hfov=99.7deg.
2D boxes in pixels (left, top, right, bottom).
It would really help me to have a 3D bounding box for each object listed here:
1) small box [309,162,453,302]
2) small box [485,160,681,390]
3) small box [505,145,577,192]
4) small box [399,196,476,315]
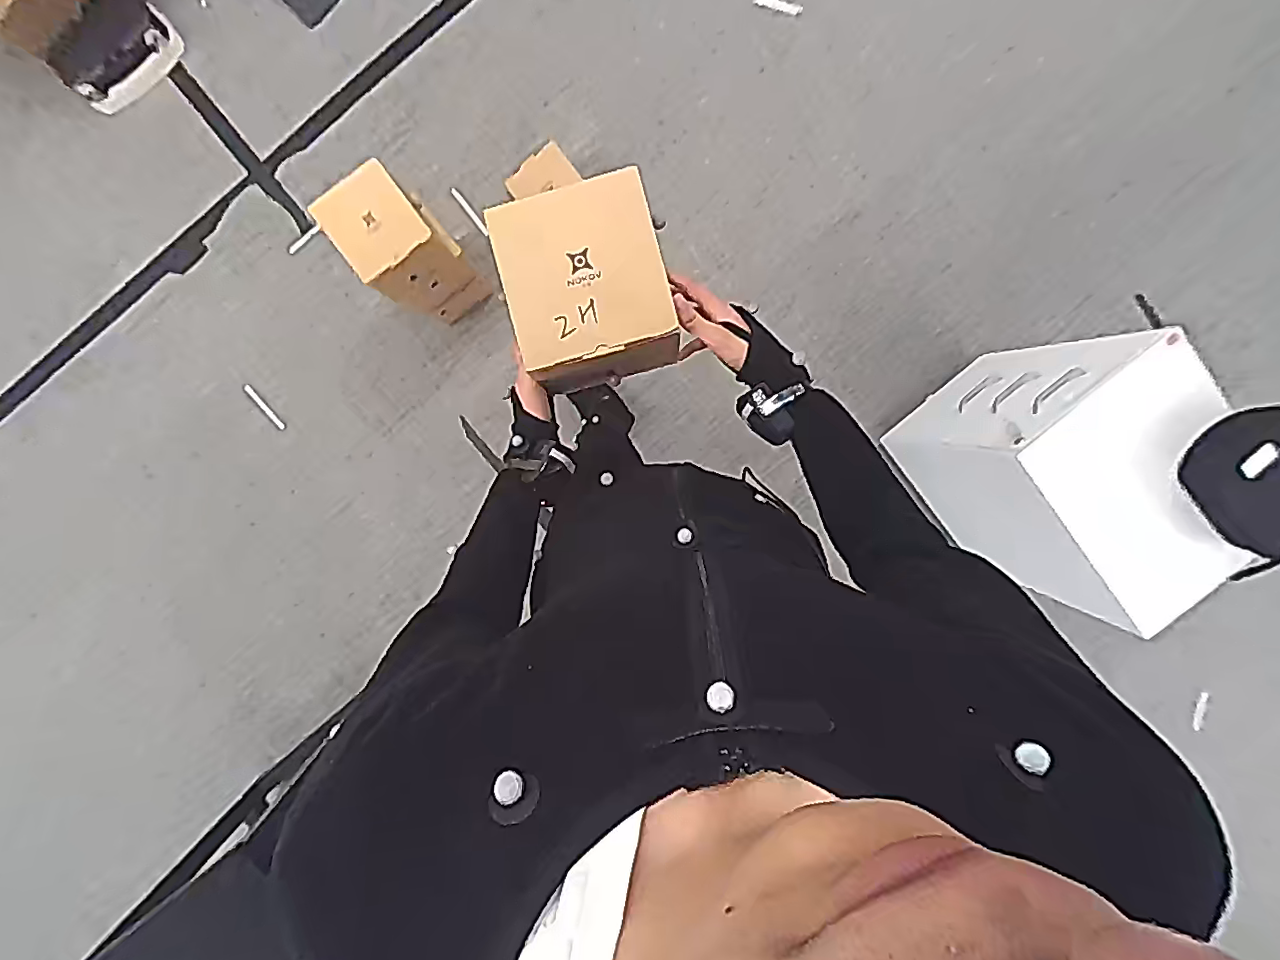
[{"bbox_3d":[-0.517,-0.493,1.107,0.168,0.176,0.179,-37,98,1],"label":"small box"},{"bbox_3d":[-0.055,-0.216,0.616,0.168,0.176,0.179,-14,90,3],"label":"small box"},{"bbox_3d":[-0.227,-0.724,1.428,0.168,0.176,0.179,-40,99,3],"label":"small box"},{"bbox_3d":[-0.515,-0.514,1.268,0.179,0.176,0.168,-39,98,1],"label":"small box"}]
